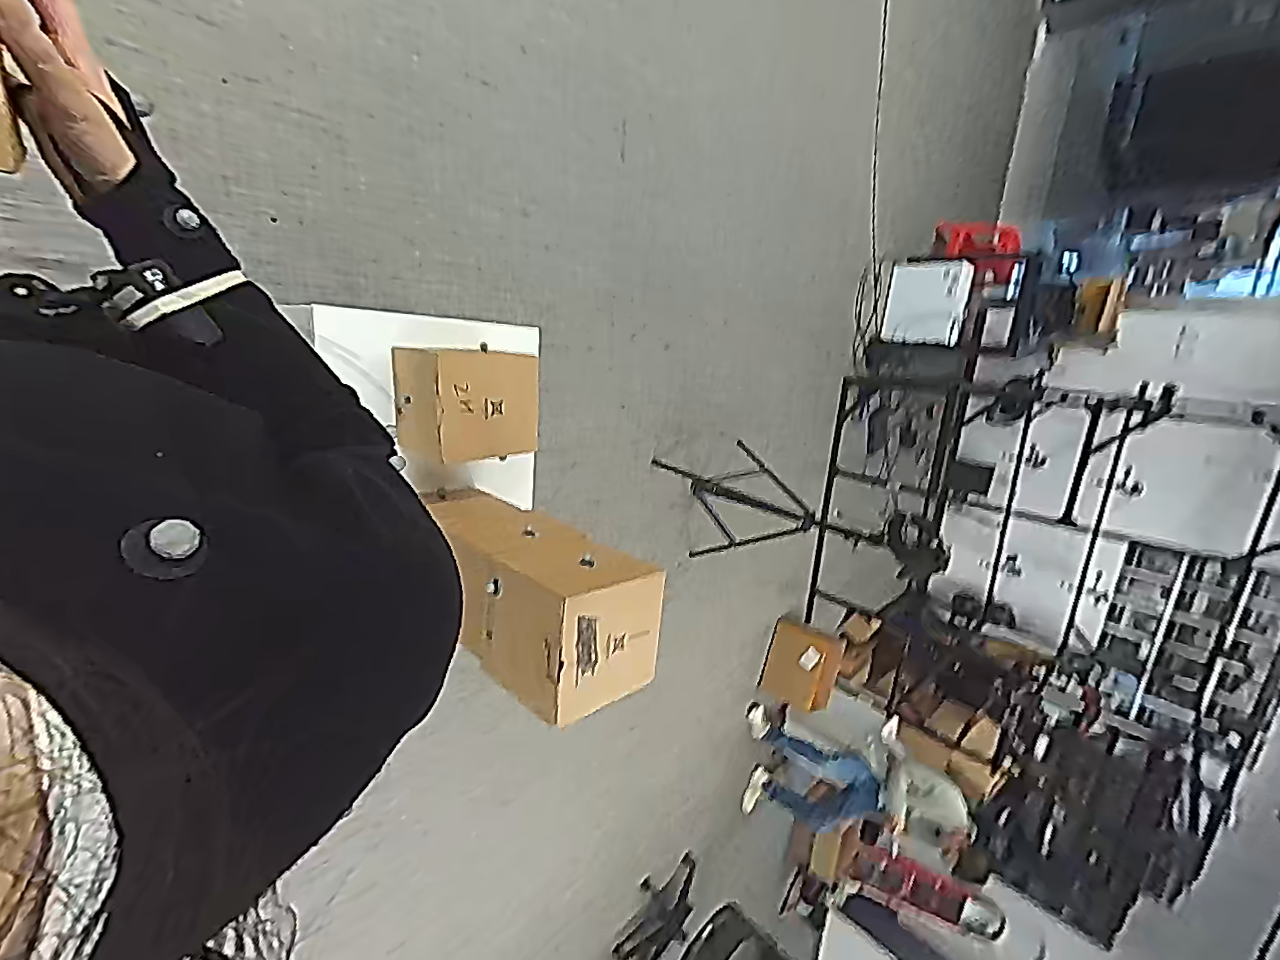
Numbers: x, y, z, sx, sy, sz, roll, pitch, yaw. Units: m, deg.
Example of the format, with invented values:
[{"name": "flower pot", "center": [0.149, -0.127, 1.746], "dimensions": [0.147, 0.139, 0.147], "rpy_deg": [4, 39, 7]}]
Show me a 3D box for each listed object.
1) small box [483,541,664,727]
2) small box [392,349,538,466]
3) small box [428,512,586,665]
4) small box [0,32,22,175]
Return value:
[{"name": "small box", "center": [-0.093, 0.190, 0.728], "dimensions": [0.179, 0.176, 0.168], "rpy_deg": [-5, 105, -47]}, {"name": "small box", "center": [-0.291, -0.129, 0.902], "dimensions": [0.179, 0.176, 0.168], "rpy_deg": [-11, 111, -44]}, {"name": "small box", "center": [-0.208, 0.154, 0.841], "dimensions": [0.179, 0.176, 0.168], "rpy_deg": [-6, 106, -45]}, {"name": "small box", "center": [-0.401, -0.246, 0.227], "dimensions": [0.168, 0.176, 0.179], "rpy_deg": [-13, 121, -44]}]
